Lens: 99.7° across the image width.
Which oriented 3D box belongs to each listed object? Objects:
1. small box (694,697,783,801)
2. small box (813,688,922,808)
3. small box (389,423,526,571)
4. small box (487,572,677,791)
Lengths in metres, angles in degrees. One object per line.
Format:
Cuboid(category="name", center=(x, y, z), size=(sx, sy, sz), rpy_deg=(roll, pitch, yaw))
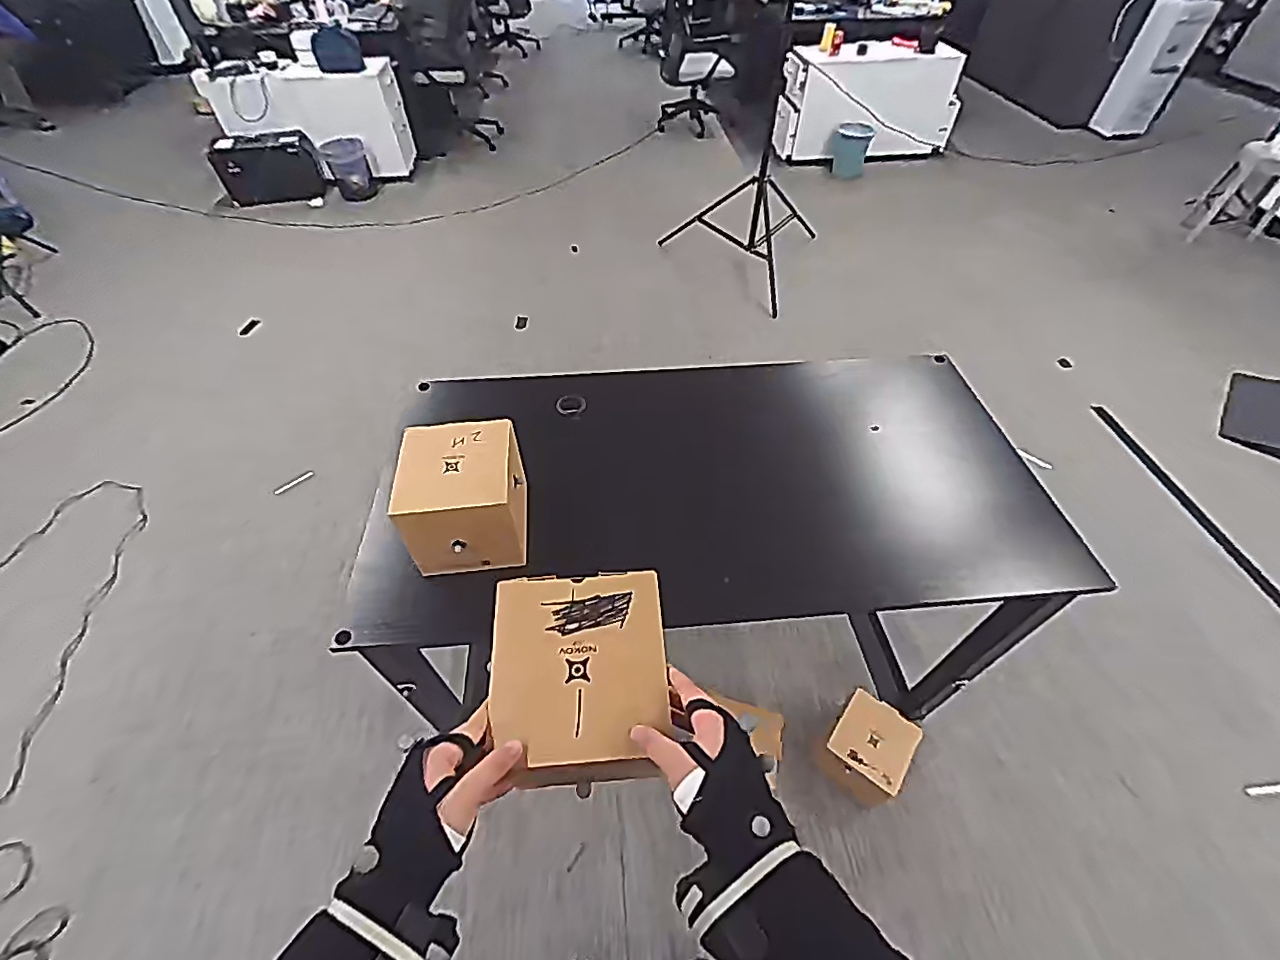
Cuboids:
Cuboid(category="small box", center=(0.233, 0.650, 1.299), size=(0.179, 0.176, 0.168), rpy_deg=(11, 50, 11))
Cuboid(category="small box", center=(0.537, 0.644, 1.298), size=(0.168, 0.176, 0.179), rpy_deg=(31, 57, 24))
Cuboid(category="small box", center=(-0.277, 0.034, 0.866), size=(0.168, 0.176, 0.179), rpy_deg=(-5, 49, -5))
Cuboid(category="small box", center=(-0.056, 0.217, 0.574), size=(0.168, 0.176, 0.179), rpy_deg=(-4, 56, -3))
